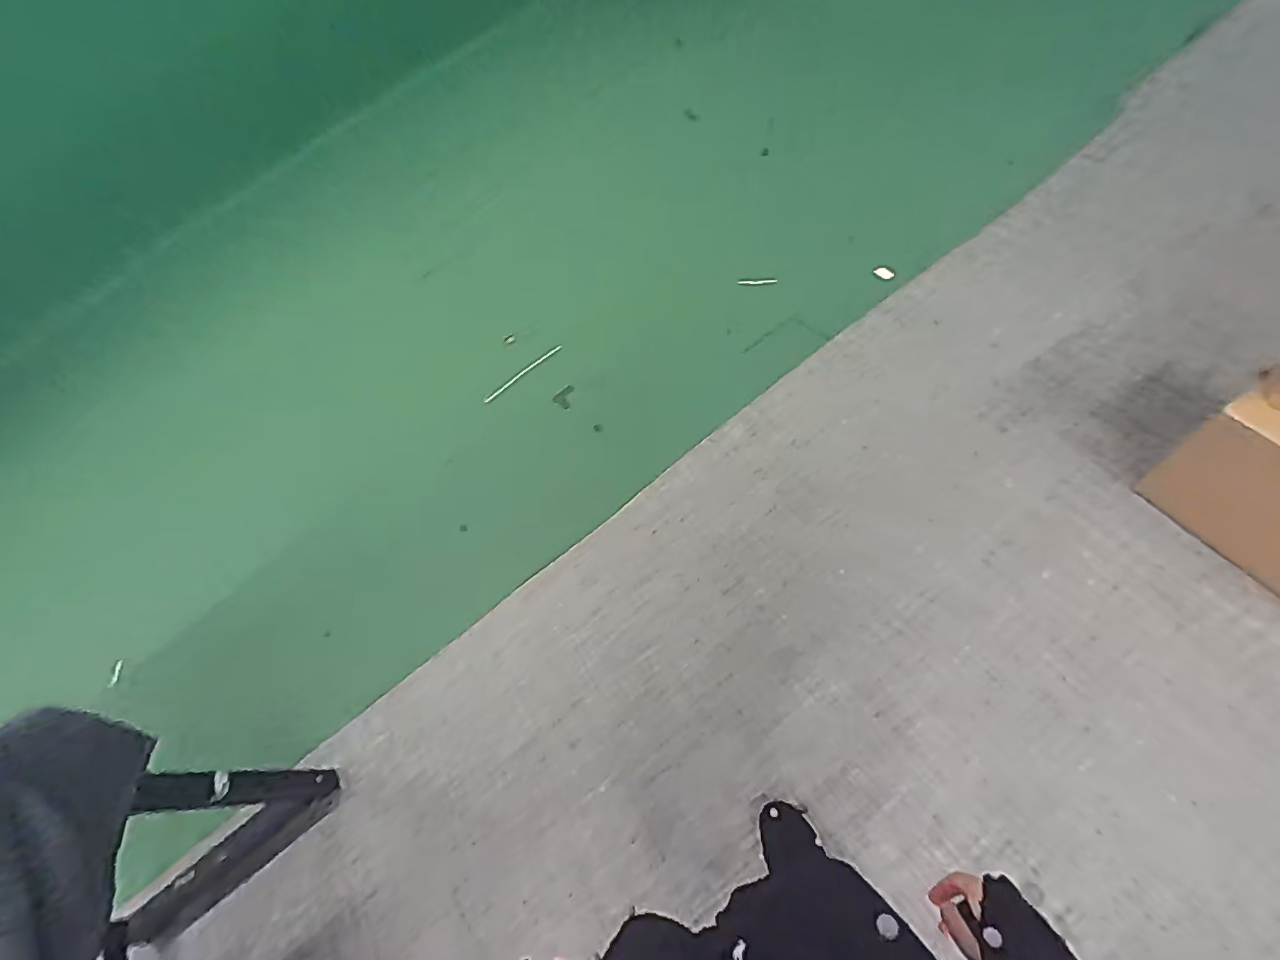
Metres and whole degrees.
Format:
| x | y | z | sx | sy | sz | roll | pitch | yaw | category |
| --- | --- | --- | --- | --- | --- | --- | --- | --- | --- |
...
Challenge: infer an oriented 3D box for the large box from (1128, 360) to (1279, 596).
| x | y | z | sx | sy | sz | roll | pitch | yaw | category |
| --- | --- | --- | --- | --- | --- | --- | --- | --- | --- |
| 1.231 | -0.003 | 0.947 | 0.320 | 0.320 | 0.408 | -36 | 60 | -2 | large box |
